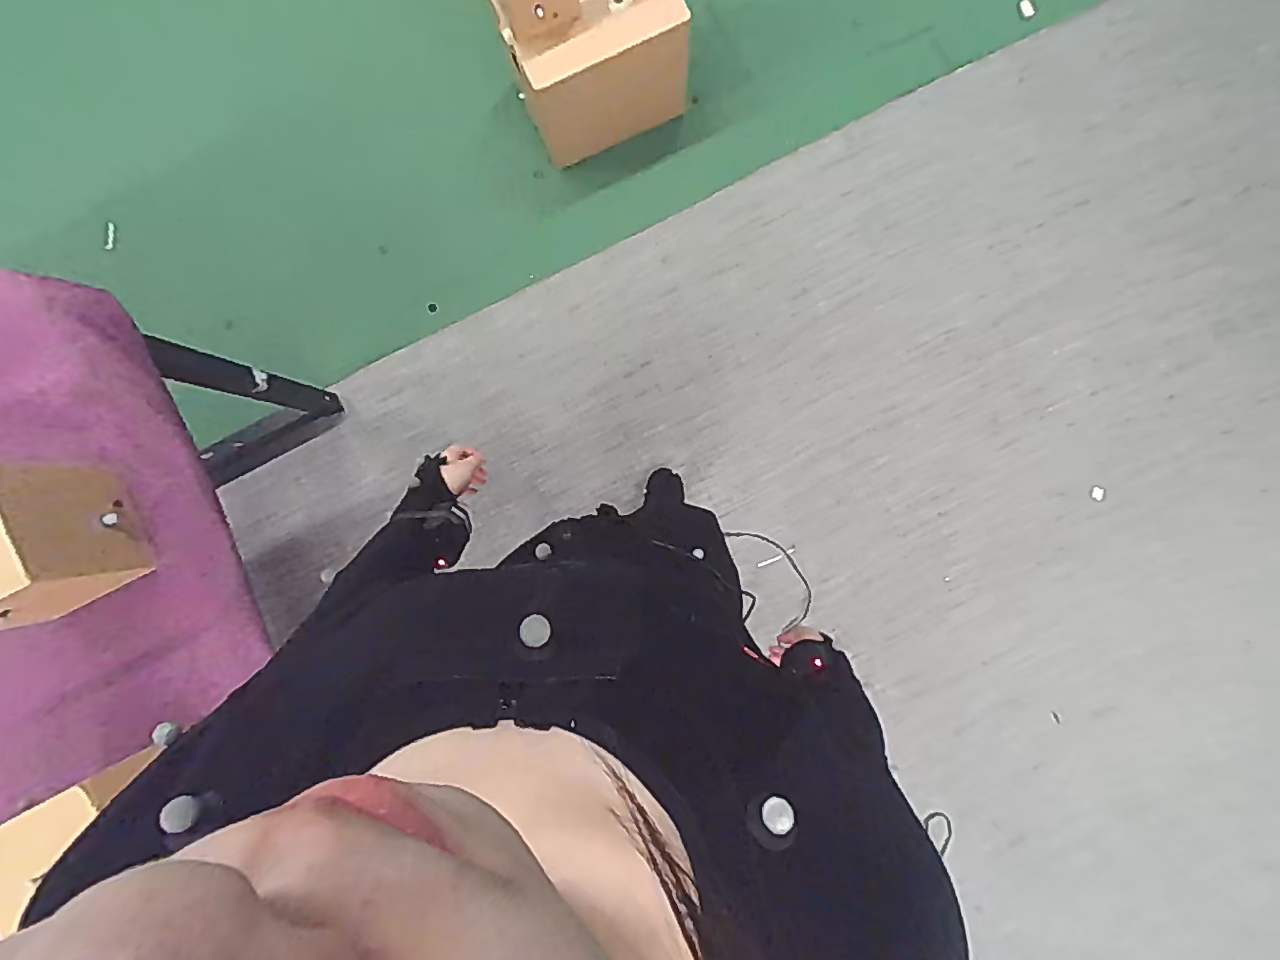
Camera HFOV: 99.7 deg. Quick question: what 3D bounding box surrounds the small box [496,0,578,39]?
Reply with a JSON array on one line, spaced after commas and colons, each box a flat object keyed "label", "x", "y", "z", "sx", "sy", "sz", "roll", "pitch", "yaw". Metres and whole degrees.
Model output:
[{"label": "small box", "x": -0.246, "y": -1.108, "z": 1.152, "sx": 0.168, "sy": 0.176, "sz": 0.179, "roll": -25, "pitch": 87, "yaw": 0}]

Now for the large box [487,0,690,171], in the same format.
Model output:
[{"label": "large box", "x": -0.123, "y": -1.097, "z": 1.391, "sx": 0.408, "sy": 0.320, "sz": 0.320, "roll": -25, "pitch": 88, "yaw": 0}]

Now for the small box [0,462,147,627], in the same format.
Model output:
[{"label": "small box", "x": -0.817, "y": 0.090, "z": 0.702, "sx": 0.179, "sy": 0.176, "sz": 0.168, "roll": -26, "pitch": 88, "yaw": 0}]

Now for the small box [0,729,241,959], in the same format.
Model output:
[{"label": "small box", "x": -0.668, "y": 0.455, "z": 0.683, "sx": 0.179, "sy": 0.176, "sz": 0.168, "roll": -28, "pitch": 88, "yaw": 2}]
